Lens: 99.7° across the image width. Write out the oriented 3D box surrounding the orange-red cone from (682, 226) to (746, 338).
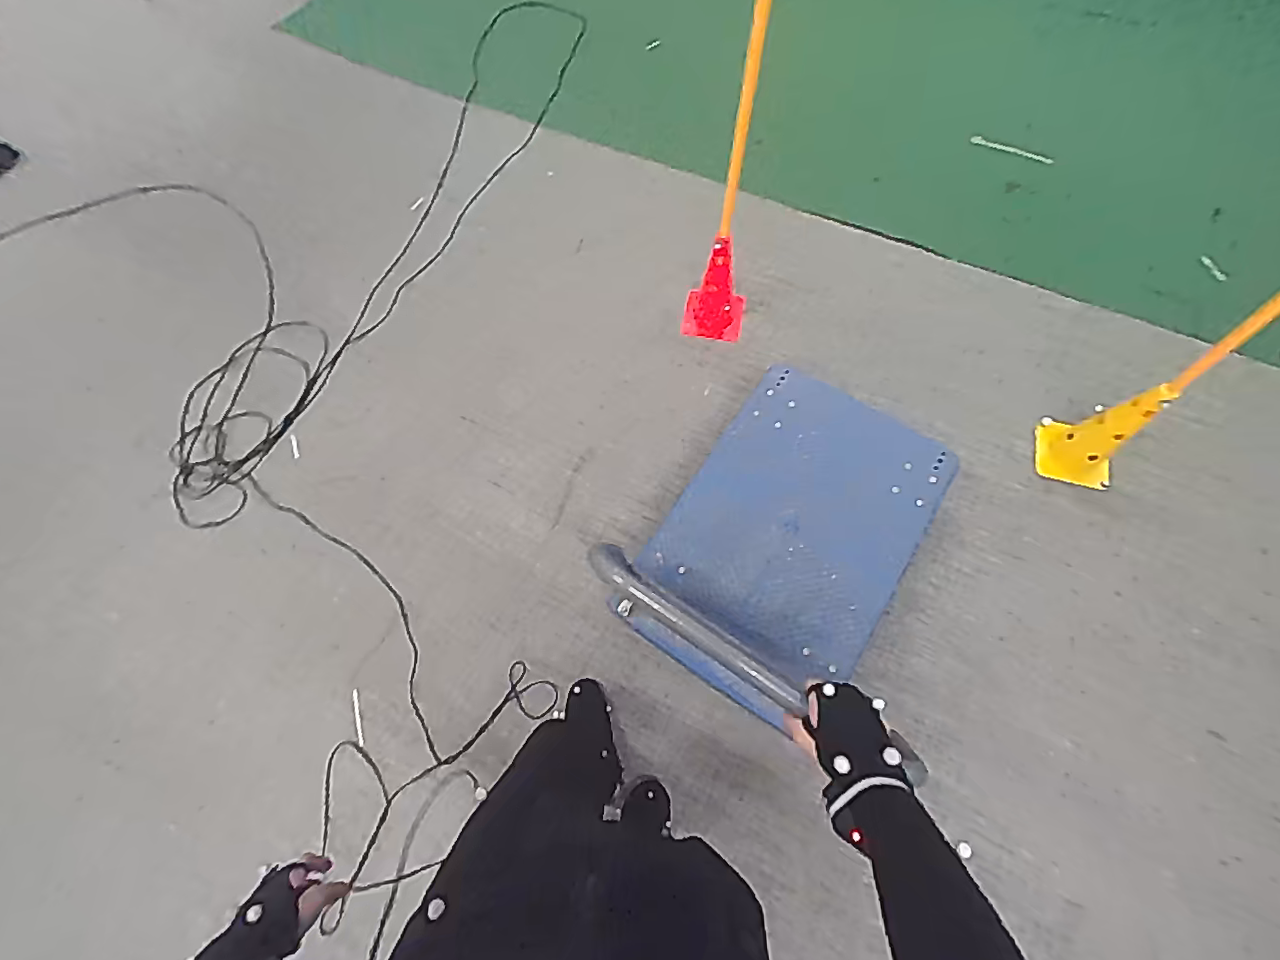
[{"bbox_3d":[0.247,-0.648,1.714,0.199,0.360,0.198,11,68,8],"label":"orange-red cone"}]
